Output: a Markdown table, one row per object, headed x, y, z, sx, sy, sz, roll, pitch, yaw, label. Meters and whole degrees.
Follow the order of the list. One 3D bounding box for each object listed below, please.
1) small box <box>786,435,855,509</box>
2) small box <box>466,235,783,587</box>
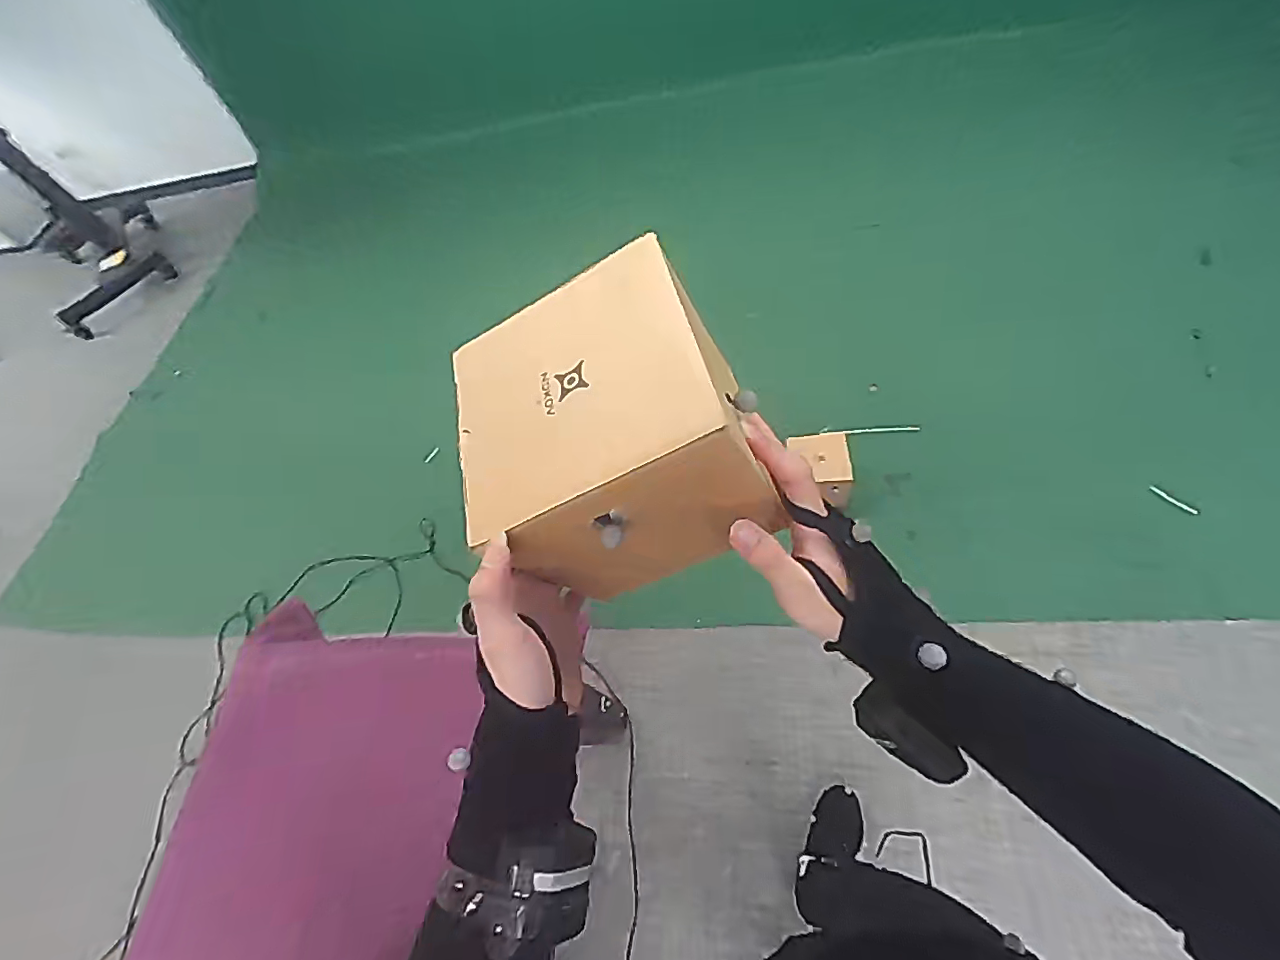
| x | y | z | sx | sy | sz | roll | pitch | yaw | label |
| --- | --- | --- | --- | --- | --- | --- | --- | --- | --- |
| 0.552 | -0.021 | 1.677 | 0.179 | 0.176 | 0.168 | -4 | 59 | 11 | small box |
| -0.005 | -0.035 | 0.413 | 0.179 | 0.176 | 0.168 | -26 | 57 | 18 | small box |
